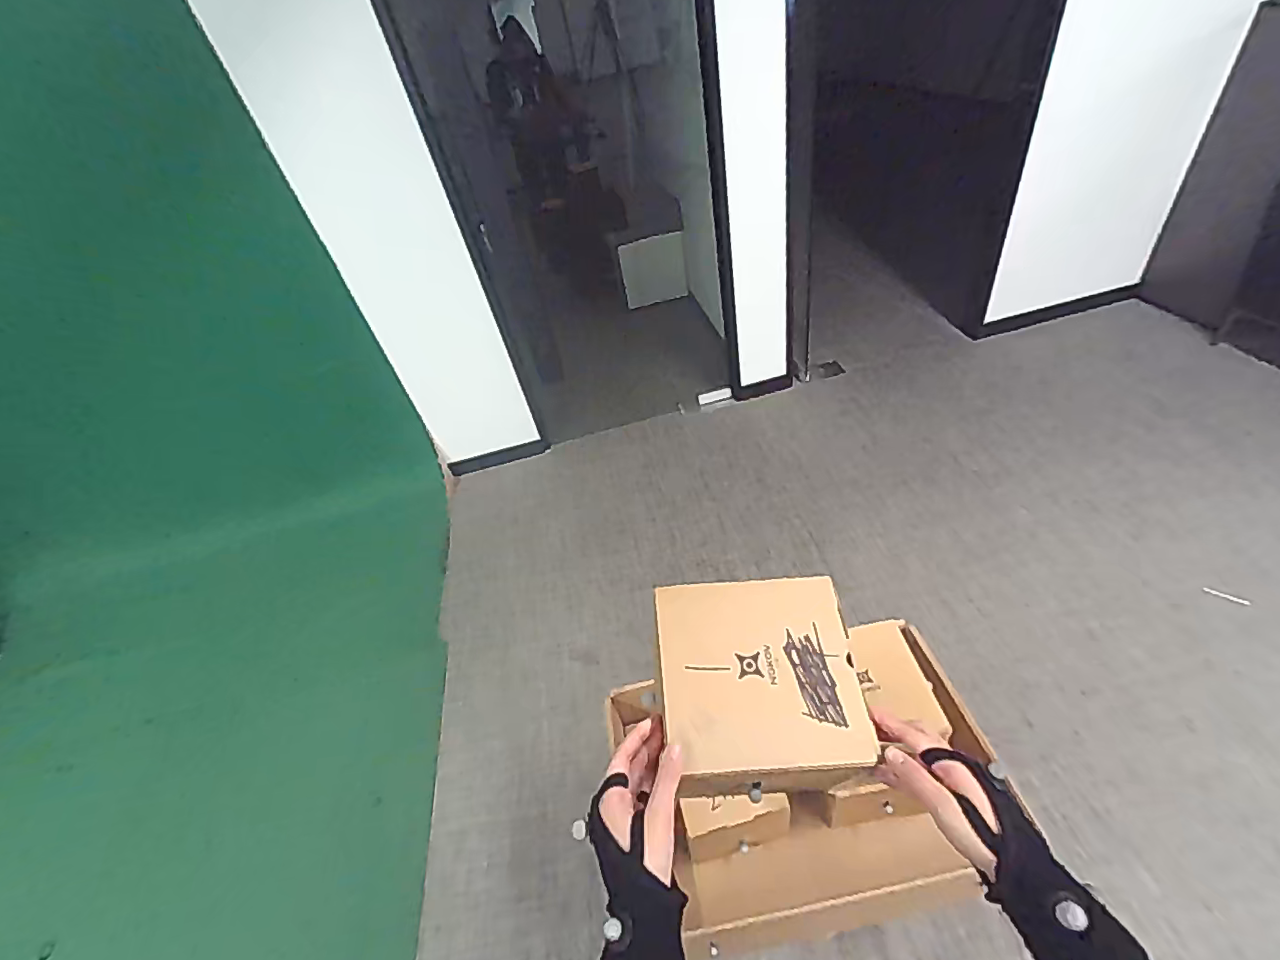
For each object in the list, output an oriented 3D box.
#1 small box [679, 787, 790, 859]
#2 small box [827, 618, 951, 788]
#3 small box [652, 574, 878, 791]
[{"bbox_3d":[0.148,0.521,0.943,0.168,0.176,0.179,-16,42,-3],"label":"small box"},{"bbox_3d":[0.344,0.346,0.840,0.168,0.176,0.179,-12,41,3],"label":"small box"},{"bbox_3d":[0.103,0.206,0.541,0.179,0.176,0.168,-3,54,-1],"label":"small box"}]
